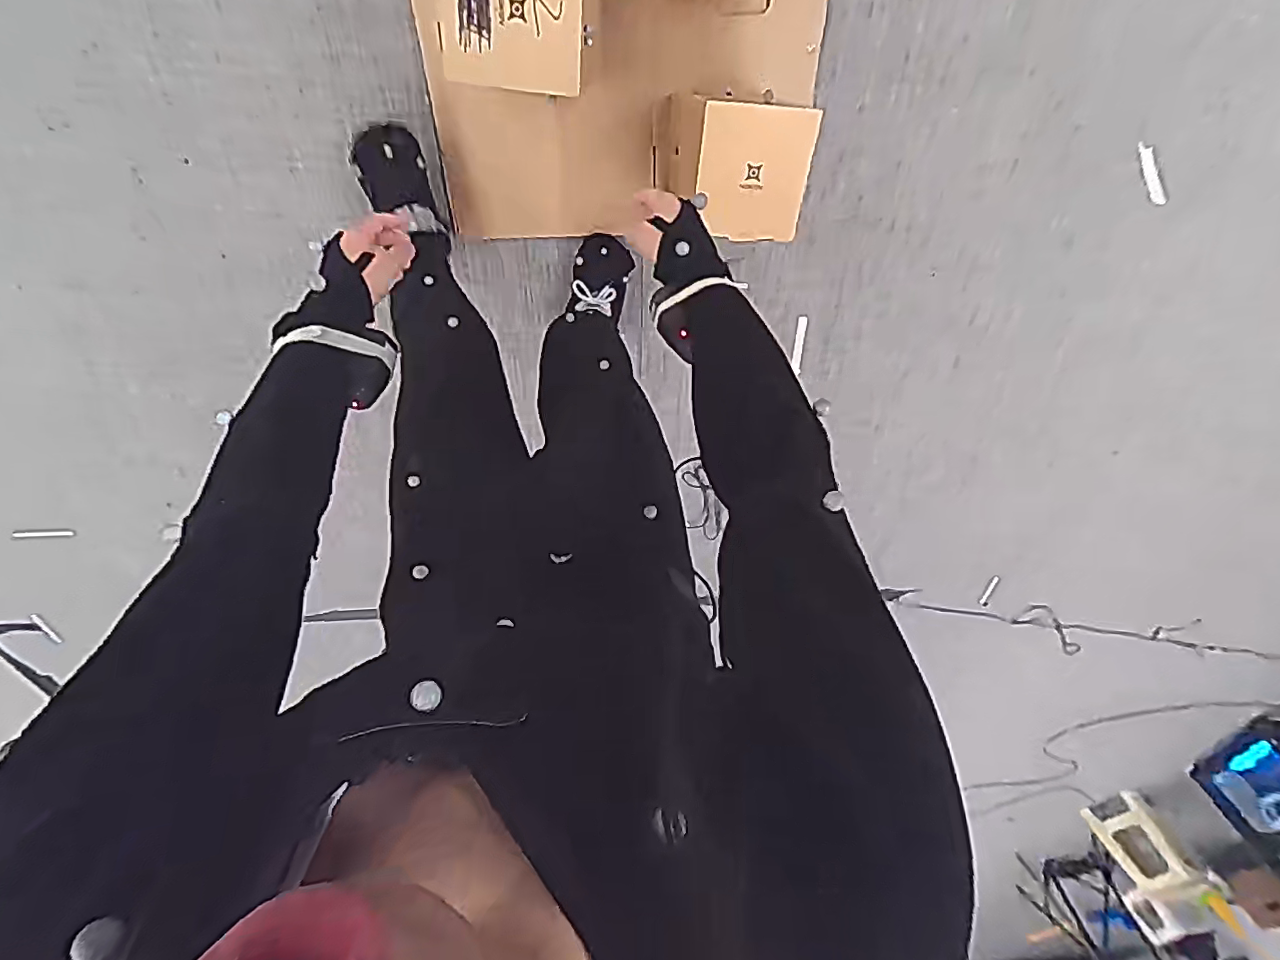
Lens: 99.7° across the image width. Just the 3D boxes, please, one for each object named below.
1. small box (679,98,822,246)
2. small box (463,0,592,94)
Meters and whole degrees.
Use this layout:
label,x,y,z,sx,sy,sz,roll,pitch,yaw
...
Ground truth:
label,x,y,z,sx,sy,sz,roll,pitch,yaw
small box,0.159,-0.485,0.847,0.168,0.176,0.179,0,128,-6
small box,-0.169,-0.717,0.842,0.179,0.176,0.168,6,127,-8
